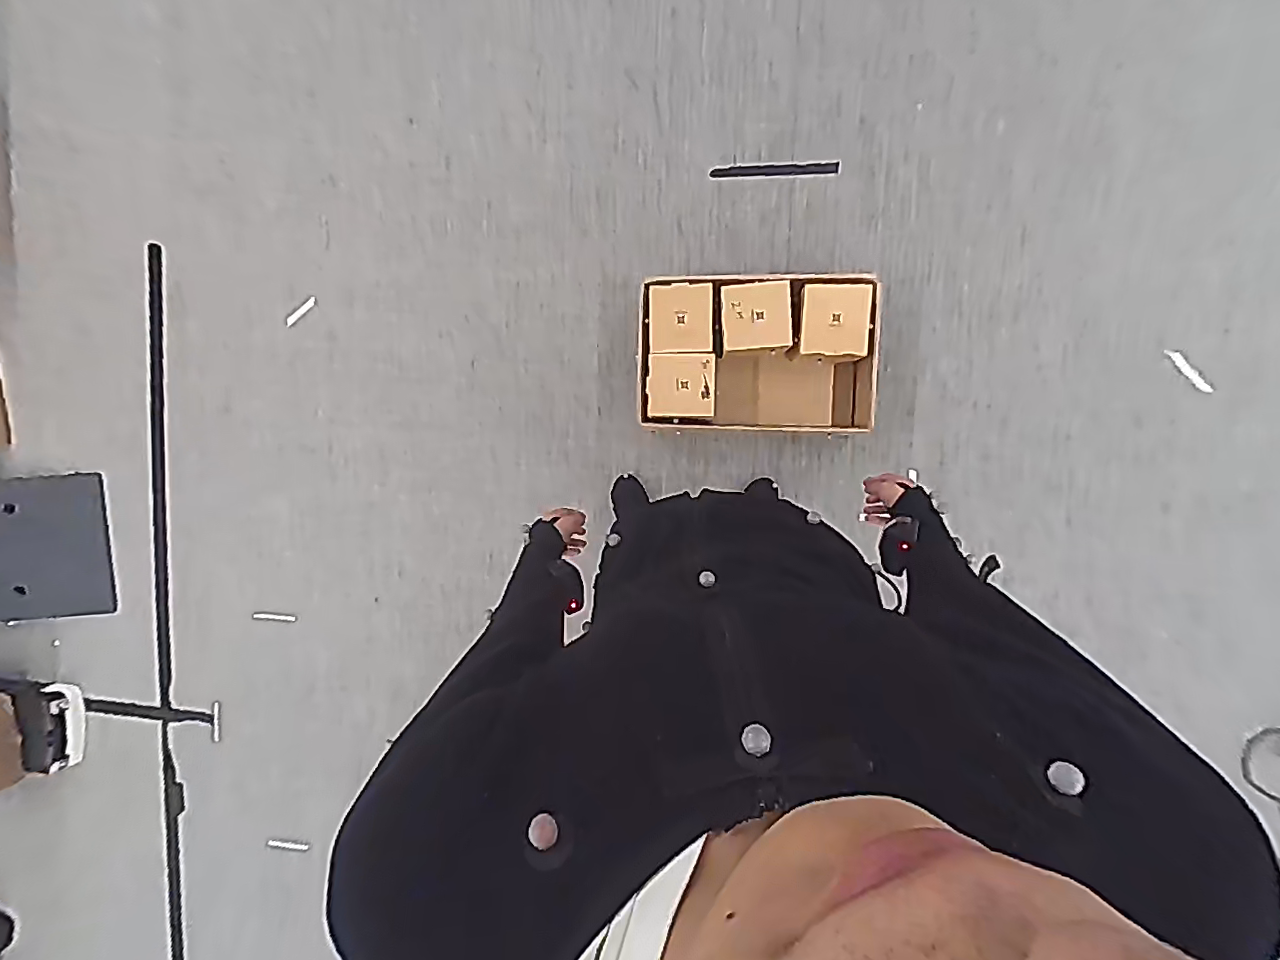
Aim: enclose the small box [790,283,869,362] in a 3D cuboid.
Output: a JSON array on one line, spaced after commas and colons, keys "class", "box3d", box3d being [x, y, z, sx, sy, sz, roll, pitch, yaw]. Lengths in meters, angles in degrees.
[{"class": "small box", "box3d": [0.496, -0.413, 1.437, 0.168, 0.176, 0.179, 3, 97, 8]}]
